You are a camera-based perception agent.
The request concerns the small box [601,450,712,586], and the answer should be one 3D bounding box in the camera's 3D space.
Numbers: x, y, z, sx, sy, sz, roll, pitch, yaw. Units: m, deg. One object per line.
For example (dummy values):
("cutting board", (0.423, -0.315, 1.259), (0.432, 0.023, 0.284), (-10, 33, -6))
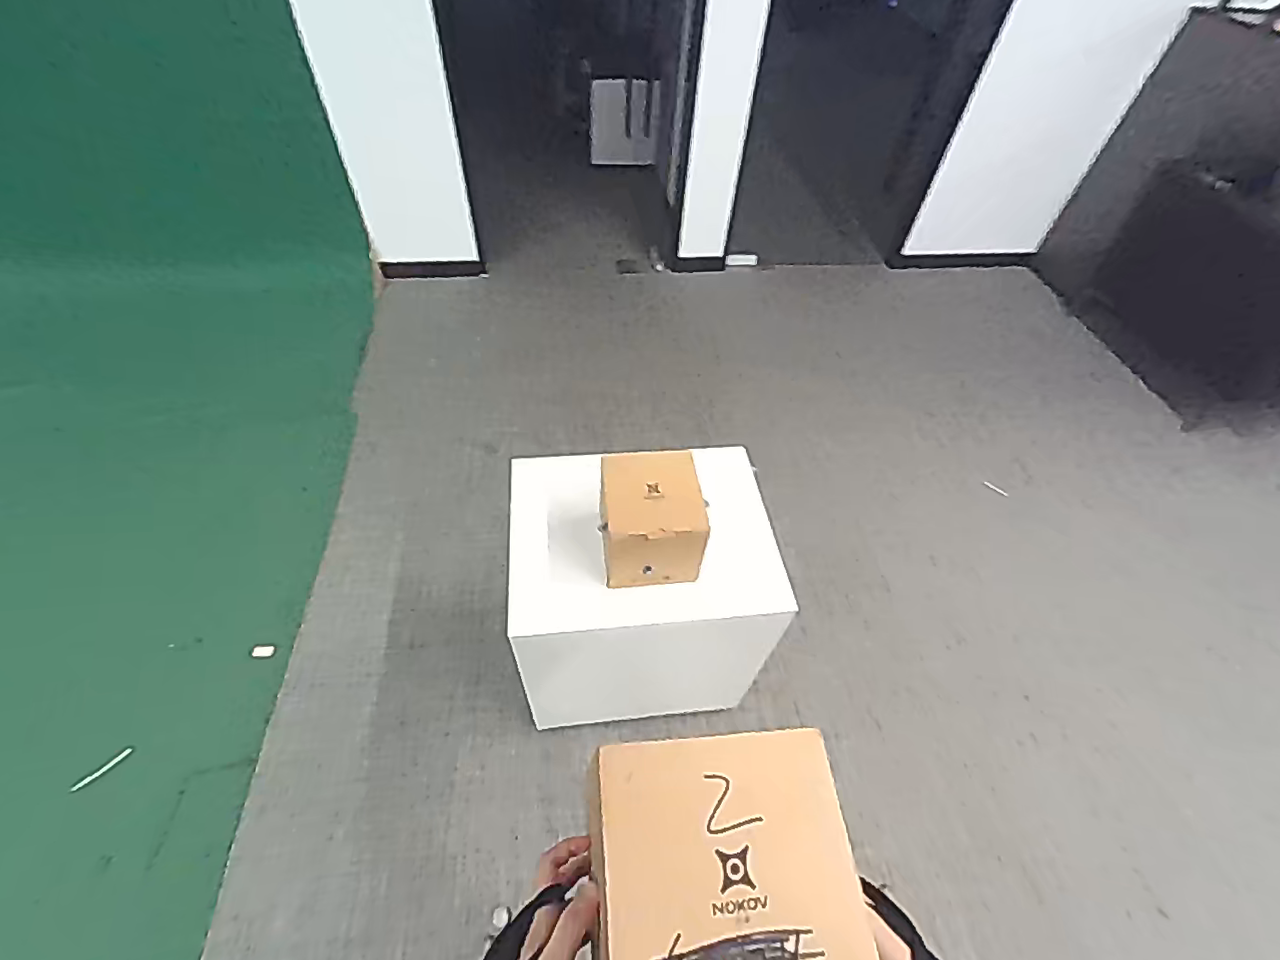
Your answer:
("small box", (0.018, 0.067, 0.957), (0.168, 0.176, 0.179), (-4, 50, -7))
